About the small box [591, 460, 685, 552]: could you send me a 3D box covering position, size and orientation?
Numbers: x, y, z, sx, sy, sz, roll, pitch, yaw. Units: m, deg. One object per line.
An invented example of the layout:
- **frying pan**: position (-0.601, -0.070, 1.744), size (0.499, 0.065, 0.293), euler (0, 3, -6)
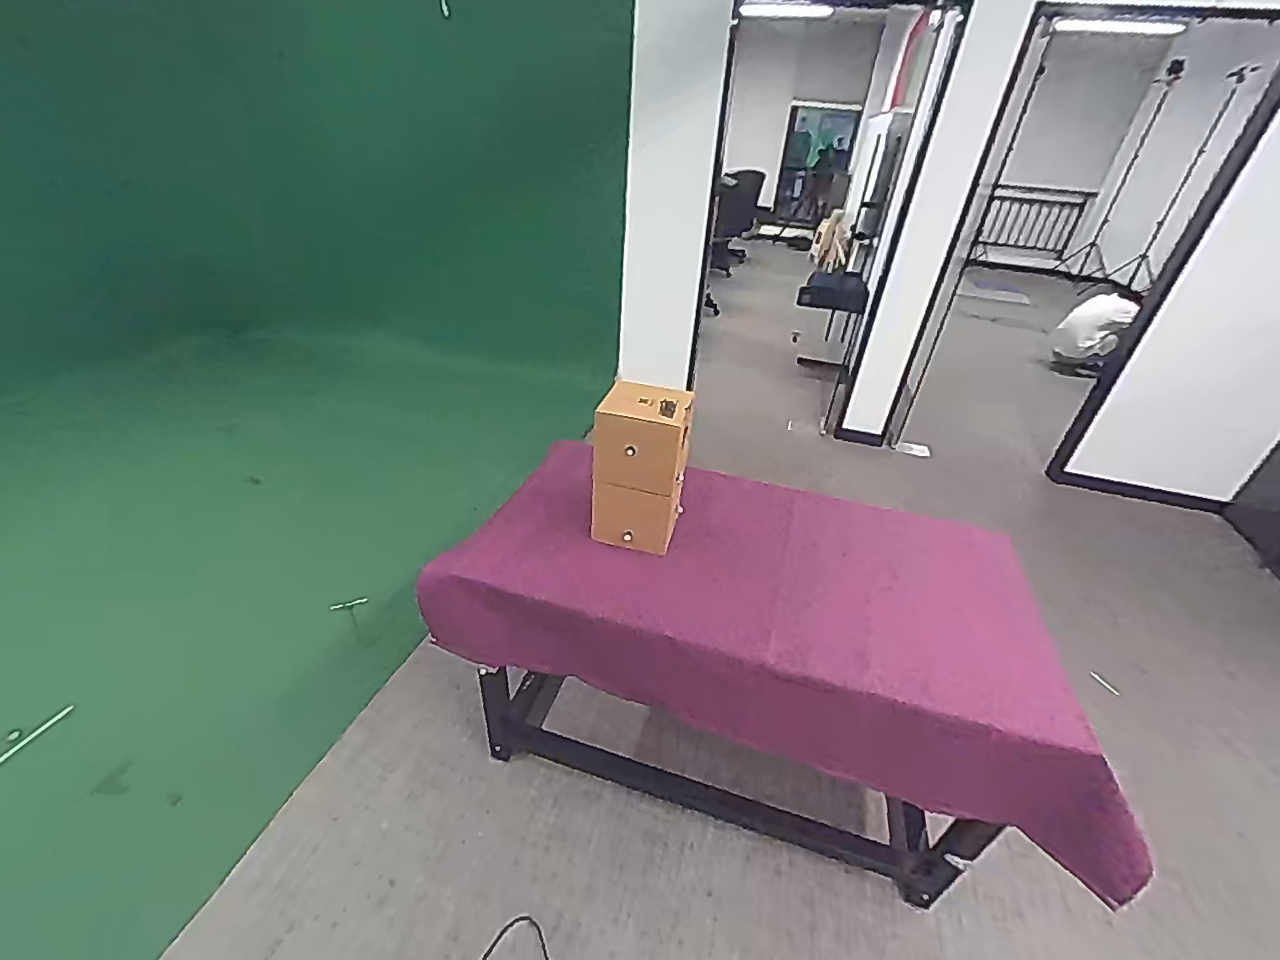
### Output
- **small box**: position (-0.005, 0.044, 1.247), size (0.179, 0.176, 0.168), euler (12, 35, 10)

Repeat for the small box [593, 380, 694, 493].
- **small box**: position (0.008, -0.091, 1.153), size (0.179, 0.176, 0.168), euler (11, 35, 11)
